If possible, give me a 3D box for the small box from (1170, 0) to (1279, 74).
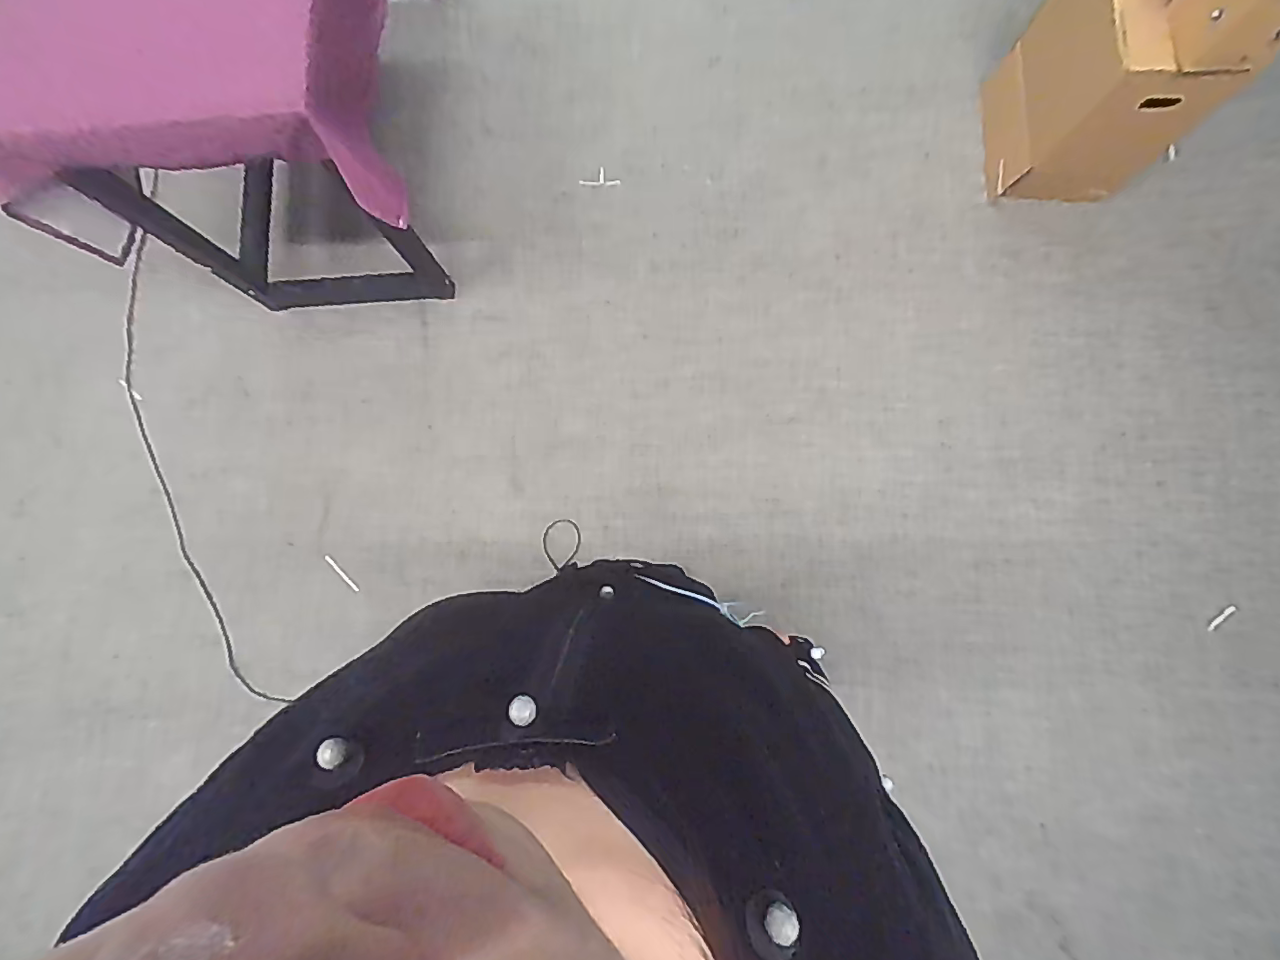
[{"bbox_3d":[1.255,-0.975,1.110,0.168,0.176,0.179,0,81,0],"label":"small box"}]
